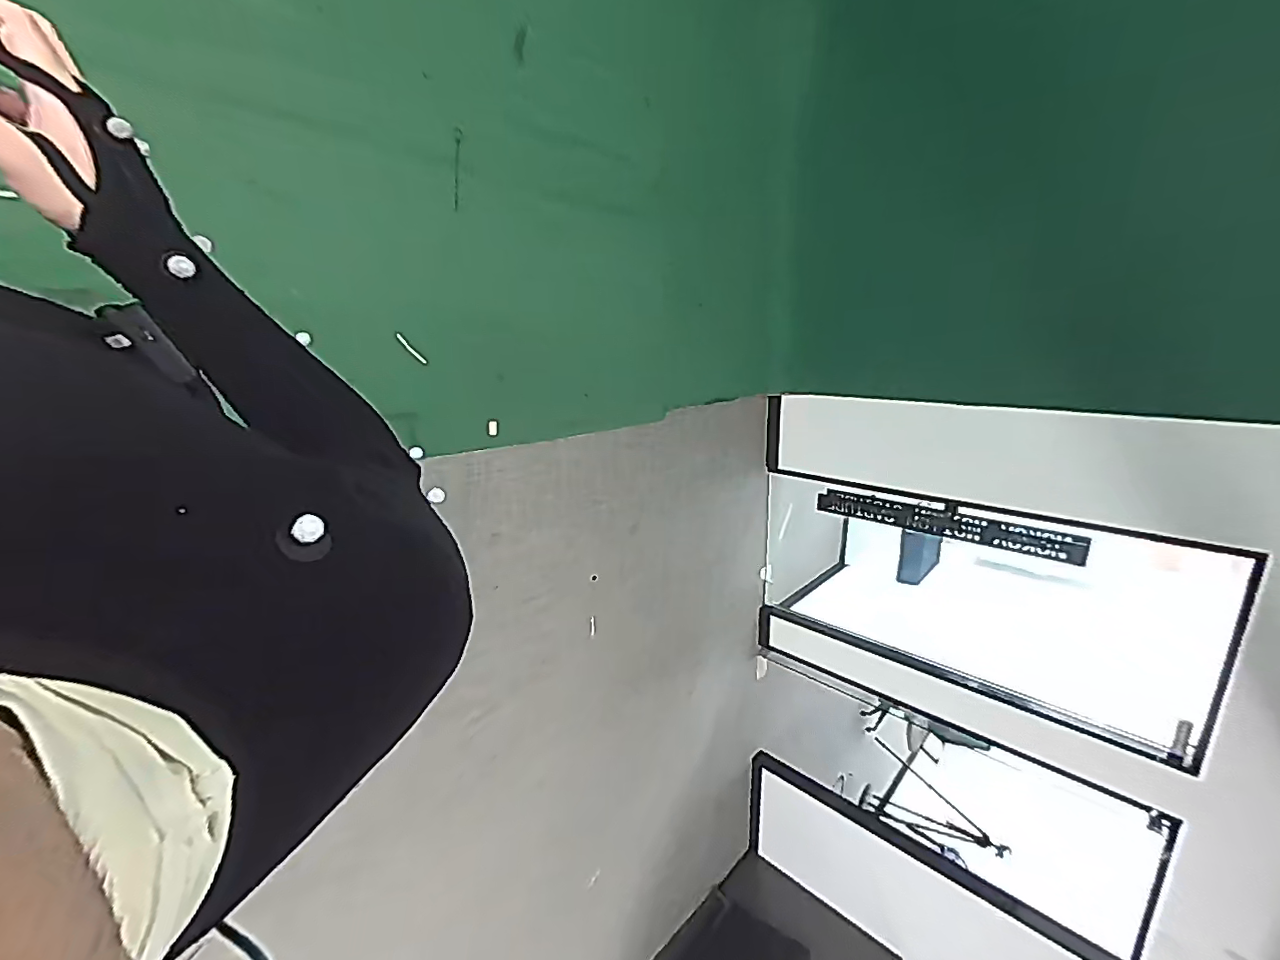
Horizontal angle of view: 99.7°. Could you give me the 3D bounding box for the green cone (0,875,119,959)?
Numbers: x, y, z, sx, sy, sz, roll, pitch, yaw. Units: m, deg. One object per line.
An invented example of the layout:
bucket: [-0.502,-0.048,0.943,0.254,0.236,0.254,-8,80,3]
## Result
green cone: [-1.234,1.072,1.129,0.202,0.368,0.200,-14,110,-43]
